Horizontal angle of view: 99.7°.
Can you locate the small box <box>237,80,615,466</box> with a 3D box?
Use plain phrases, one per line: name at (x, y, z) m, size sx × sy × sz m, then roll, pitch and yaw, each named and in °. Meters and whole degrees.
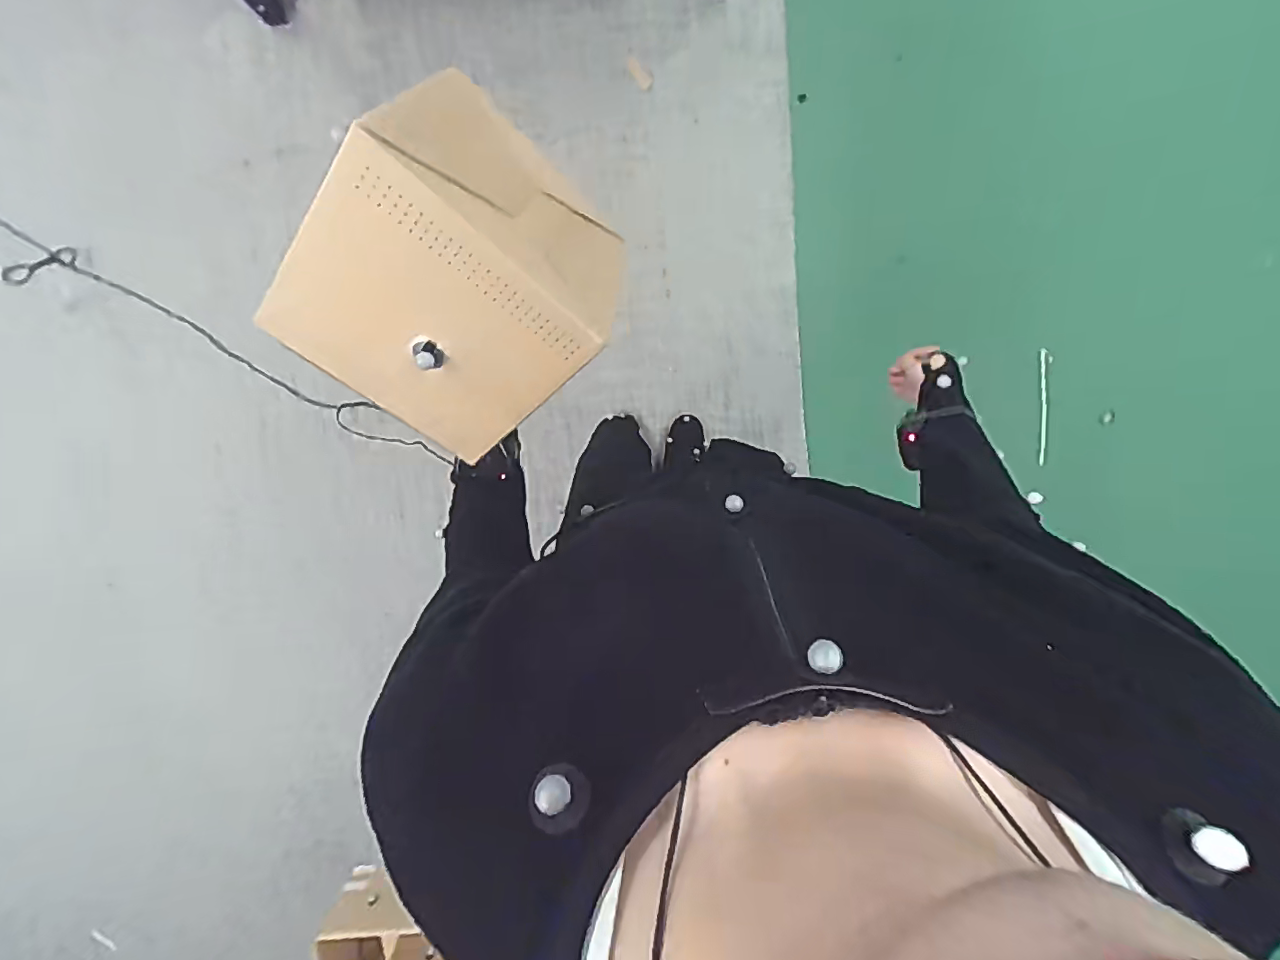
small box at (-0.142, -0.150, 0.405) m, size 0.179 × 0.168 × 0.176 m, roll 37°, pitch 127°, yaw -26°
